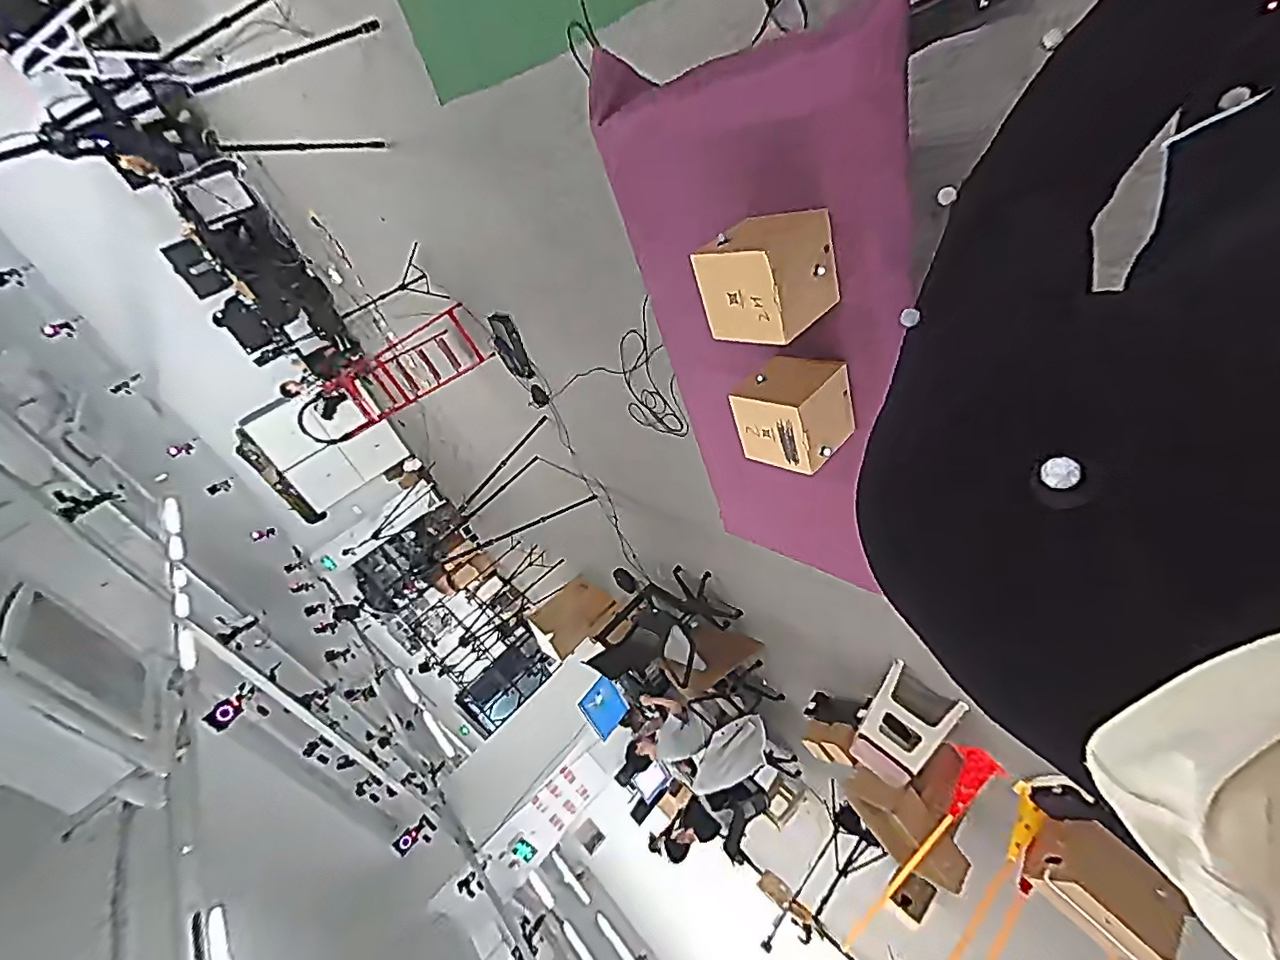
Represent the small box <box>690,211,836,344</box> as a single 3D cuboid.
[{"bbox_3d":[0.224,-0.365,0.974,0.179,0.176,0.168,22,144,46],"label":"small box"}]
